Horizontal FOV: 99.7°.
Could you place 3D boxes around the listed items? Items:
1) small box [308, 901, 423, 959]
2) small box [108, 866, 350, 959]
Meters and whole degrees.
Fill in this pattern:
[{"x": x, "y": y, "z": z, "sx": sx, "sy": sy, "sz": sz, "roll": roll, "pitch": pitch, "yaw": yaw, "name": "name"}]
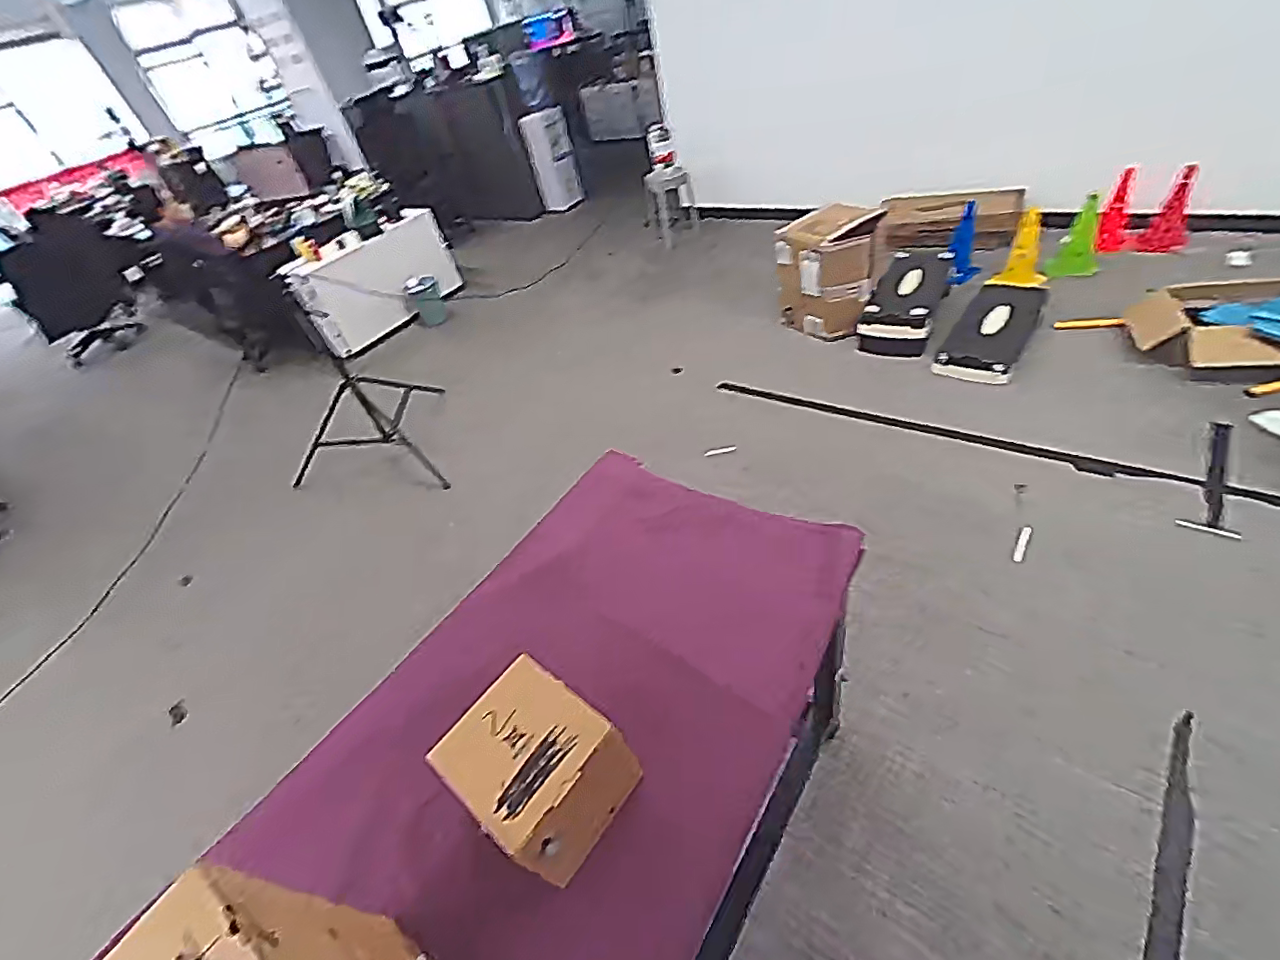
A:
[{"x": -0.312, "y": 0.582, "z": 0.543, "sx": 0.168, "sy": 0.176, "sz": 0.179, "roll": 16, "pitch": 51, "yaw": 31, "name": "small box"}, {"x": -0.342, "y": 0.464, "z": 0.432, "sx": 0.168, "sy": 0.176, "sz": 0.179, "roll": 16, "pitch": 51, "yaw": 31, "name": "small box"}]
